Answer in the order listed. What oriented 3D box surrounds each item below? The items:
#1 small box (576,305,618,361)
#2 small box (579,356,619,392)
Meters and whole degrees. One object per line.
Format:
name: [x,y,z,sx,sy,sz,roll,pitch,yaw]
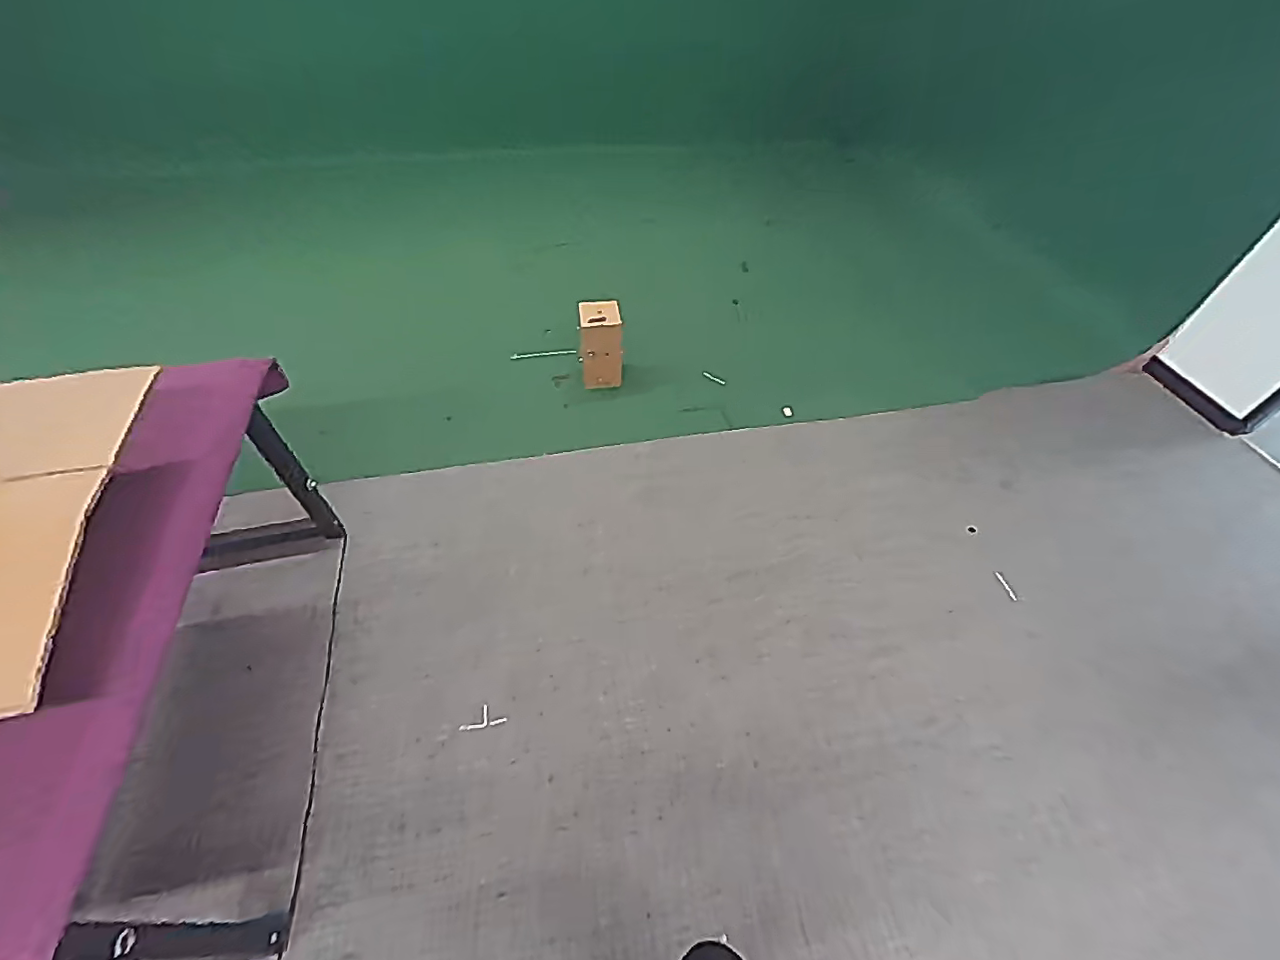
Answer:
small box: [-0.183,-0.622,2.310,0.168,0.176,0.179,-5,50,-8]
small box: [-0.189,-0.517,2.436,0.168,0.176,0.179,-6,51,-8]
